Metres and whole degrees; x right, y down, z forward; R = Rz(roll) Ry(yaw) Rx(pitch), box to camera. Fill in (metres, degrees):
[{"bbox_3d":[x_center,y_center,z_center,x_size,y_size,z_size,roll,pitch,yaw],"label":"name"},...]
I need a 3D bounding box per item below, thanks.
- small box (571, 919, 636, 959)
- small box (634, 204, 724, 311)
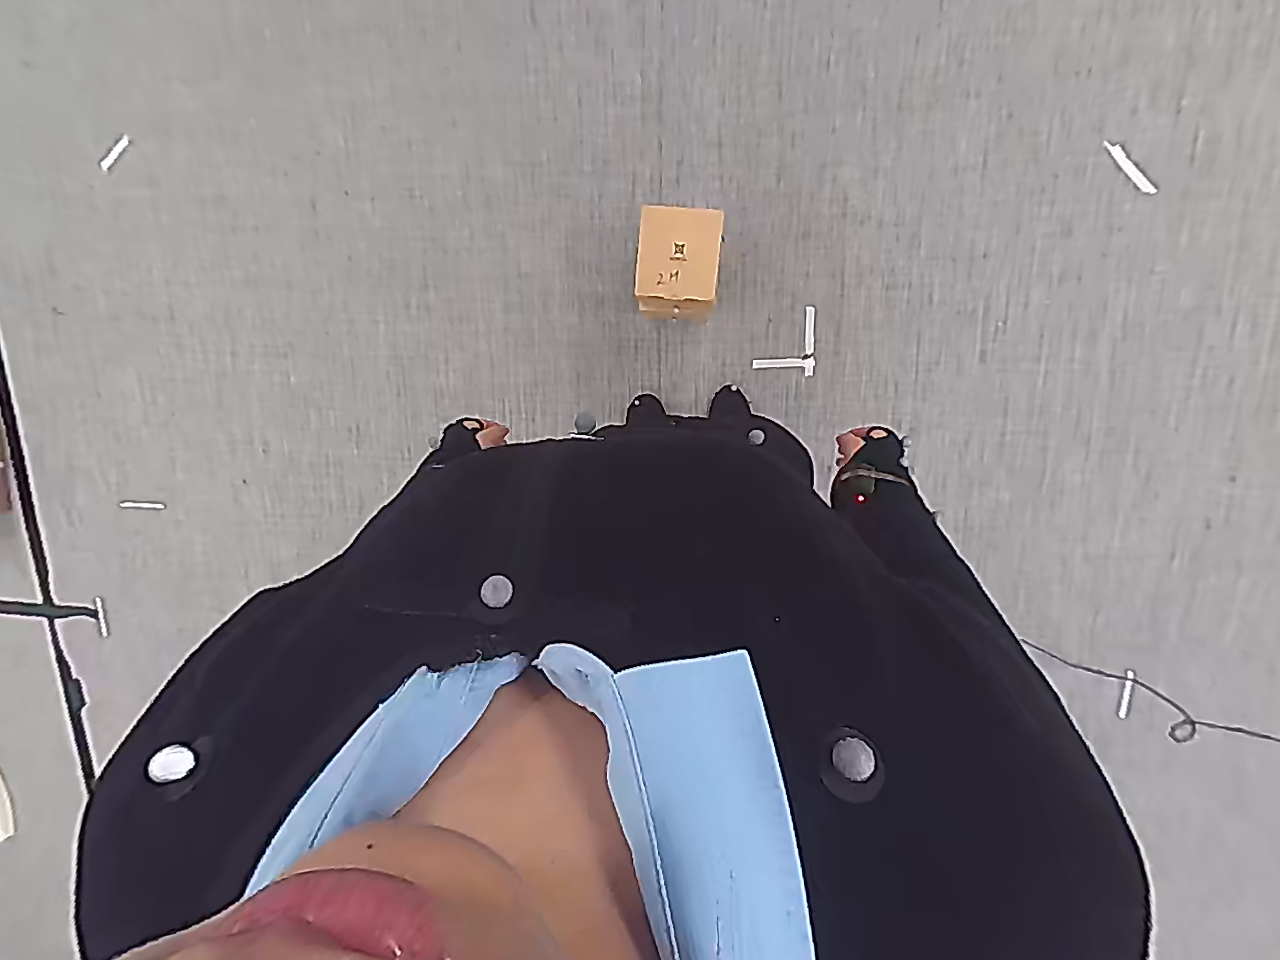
[{"bbox_3d":[-0.101,1.376,1.496,0.168,0.176,0.179,0,100,6],"label":"small box"},{"bbox_3d":[0.085,-0.467,1.154,0.168,0.176,0.179,7,102,6],"label":"small box"}]
